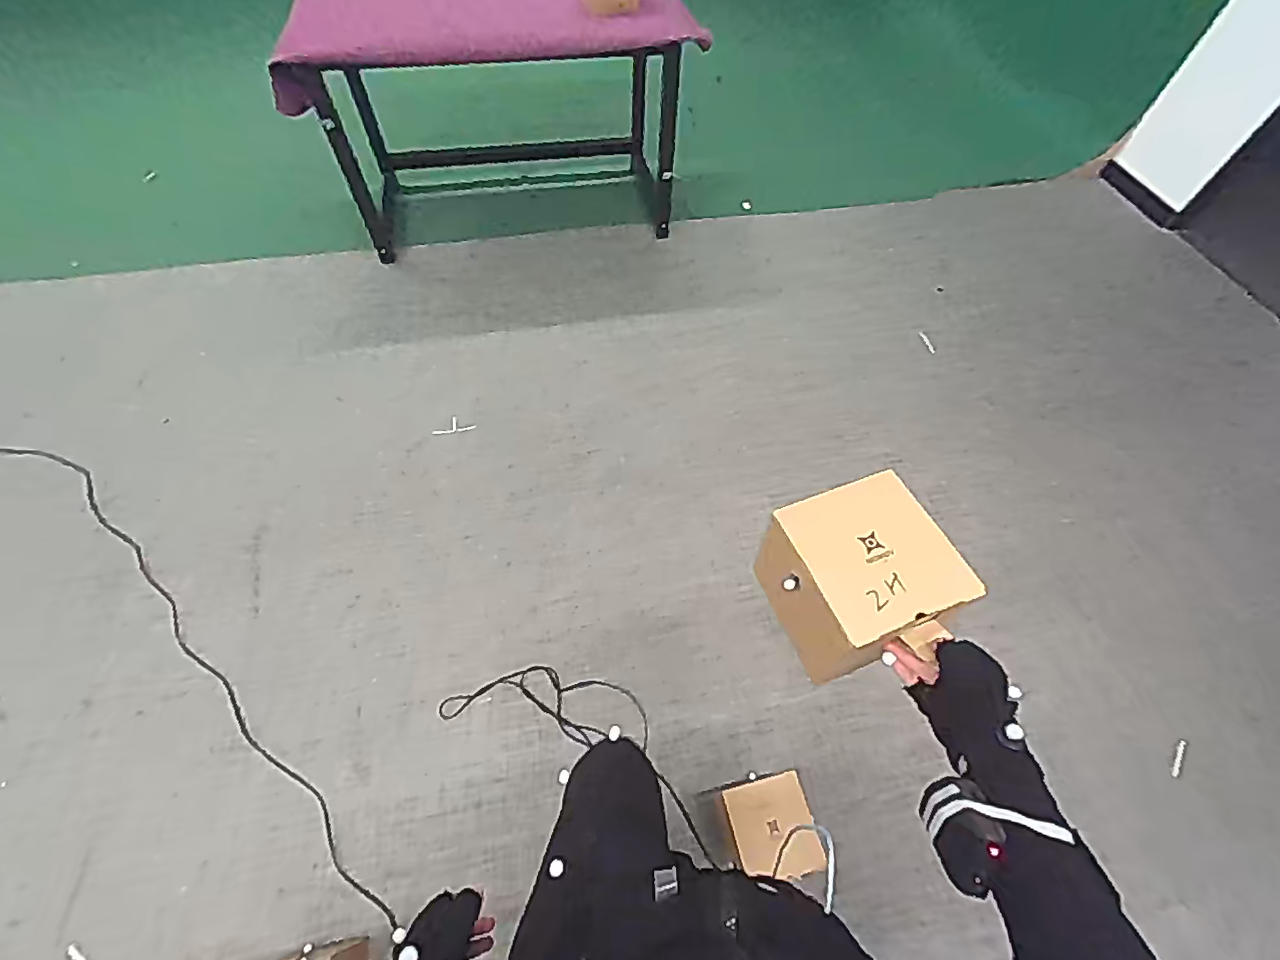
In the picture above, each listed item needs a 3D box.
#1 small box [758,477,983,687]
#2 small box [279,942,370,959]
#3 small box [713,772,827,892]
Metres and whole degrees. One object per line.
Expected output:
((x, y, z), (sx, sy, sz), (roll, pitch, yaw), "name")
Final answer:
((0.263, 0.129, 0.670), (0.168, 0.176, 0.179), (-19, 58, -9), "small box")
((-0.606, 0.965, 0.975), (0.168, 0.176, 0.179), (-7, 58, -6), "small box")
((0.265, 0.740, 1.149), (0.168, 0.176, 0.179), (-10, 59, -9), "small box")
